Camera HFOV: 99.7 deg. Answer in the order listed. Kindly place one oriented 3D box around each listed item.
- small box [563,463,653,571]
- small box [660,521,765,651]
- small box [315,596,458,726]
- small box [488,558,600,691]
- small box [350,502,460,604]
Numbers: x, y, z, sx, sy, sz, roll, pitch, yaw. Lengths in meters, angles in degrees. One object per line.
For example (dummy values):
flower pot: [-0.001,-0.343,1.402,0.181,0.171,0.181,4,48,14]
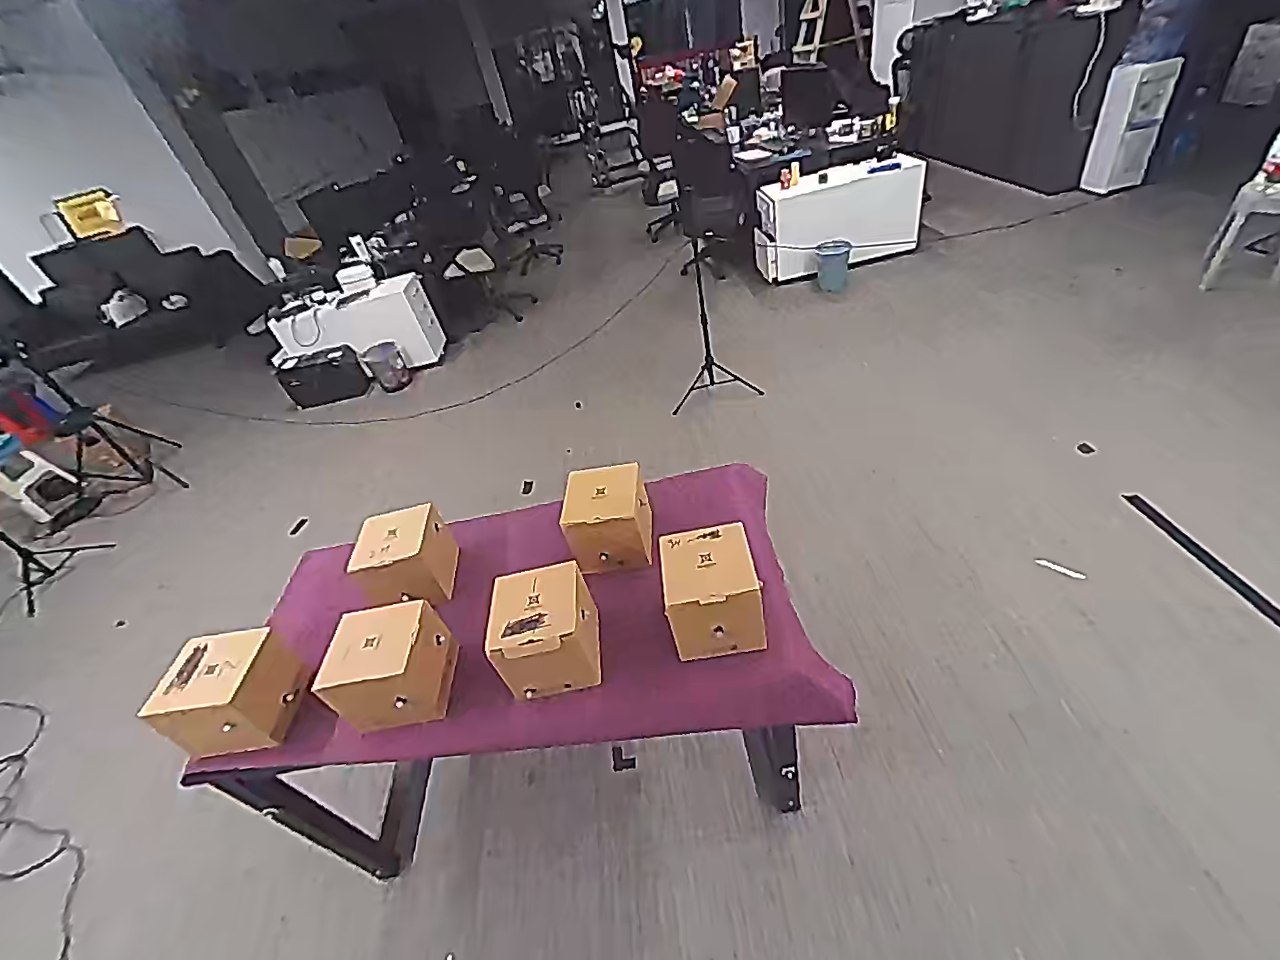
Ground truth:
small box: [-0.067,0.086,1.249,0.168,0.176,0.179,-8,41,9]
small box: [0.138,0.207,1.029,0.168,0.176,0.179,-10,37,6]
small box: [-0.477,0.354,1.052,0.179,0.176,0.168,-11,39,4]
small box: [-0.175,0.284,1.040,0.168,0.176,0.179,-12,38,3]
small box: [-0.544,0.184,1.282,0.168,0.176,0.179,-14,39,1]
